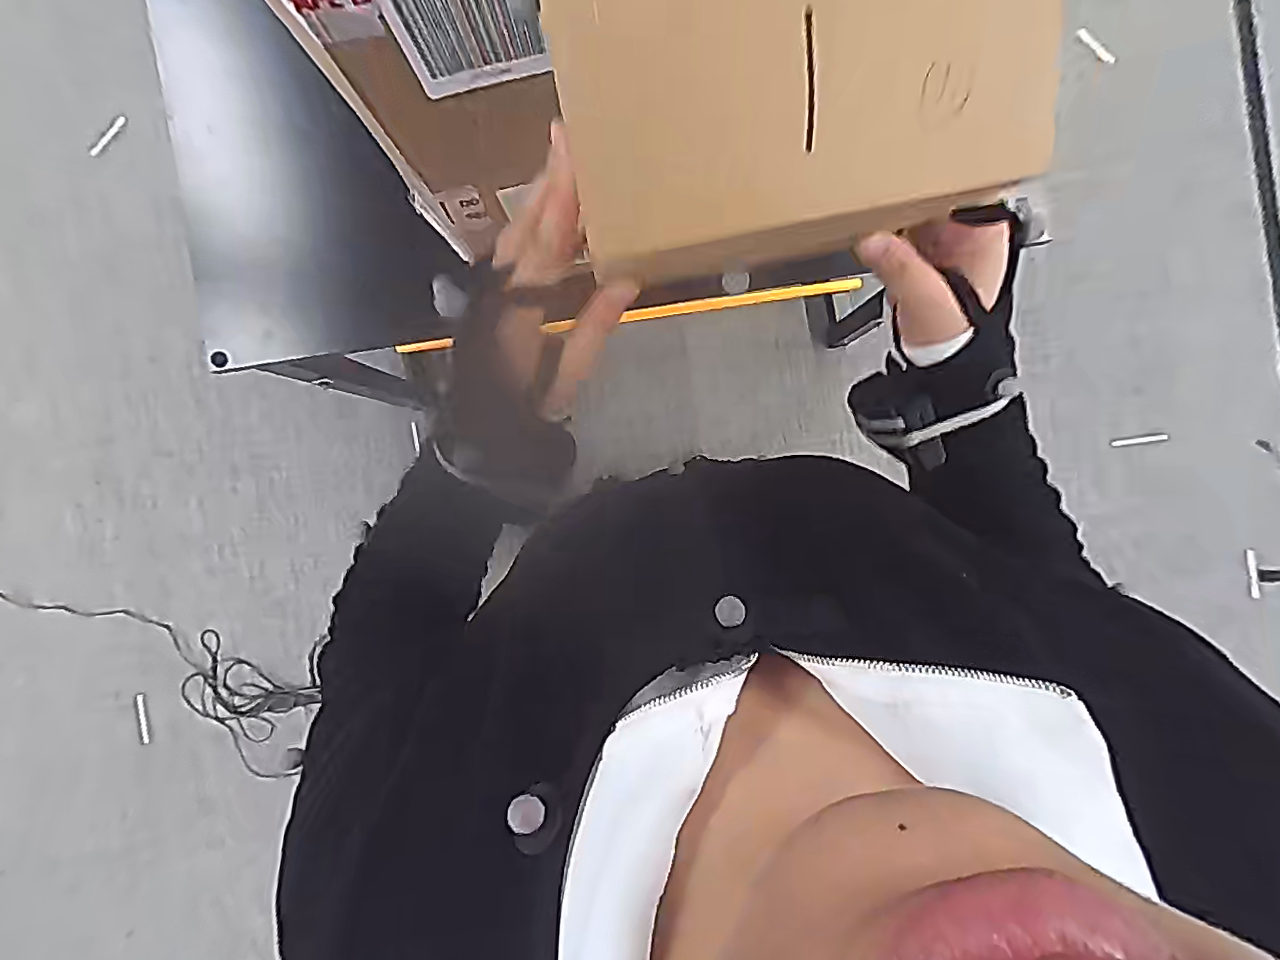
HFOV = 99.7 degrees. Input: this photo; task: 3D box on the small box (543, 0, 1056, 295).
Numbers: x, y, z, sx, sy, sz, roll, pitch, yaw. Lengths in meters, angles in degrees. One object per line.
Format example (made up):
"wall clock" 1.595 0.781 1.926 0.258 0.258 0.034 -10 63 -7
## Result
"small box" 0.045 -0.193 0.246 0.168 0.176 0.179 -11 105 0
